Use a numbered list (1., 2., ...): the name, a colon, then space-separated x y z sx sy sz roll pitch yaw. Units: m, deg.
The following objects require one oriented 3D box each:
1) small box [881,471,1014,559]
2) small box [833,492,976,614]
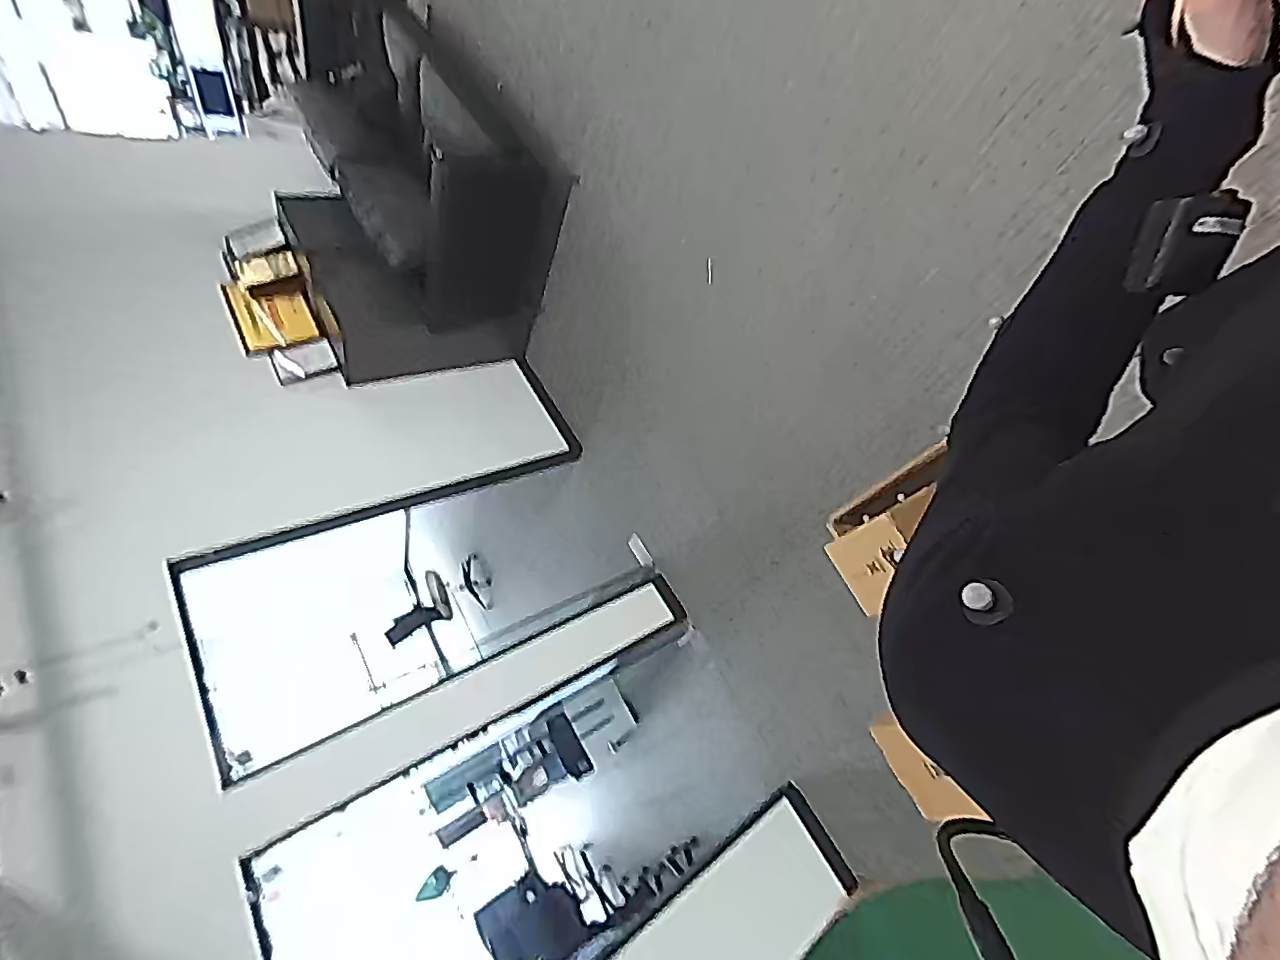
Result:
1. small box: 0.667 0.104 1.190 0.168 0.176 0.179 61 144 17
2. small box: 0.540 0.144 1.093 0.168 0.176 0.179 62 145 17
